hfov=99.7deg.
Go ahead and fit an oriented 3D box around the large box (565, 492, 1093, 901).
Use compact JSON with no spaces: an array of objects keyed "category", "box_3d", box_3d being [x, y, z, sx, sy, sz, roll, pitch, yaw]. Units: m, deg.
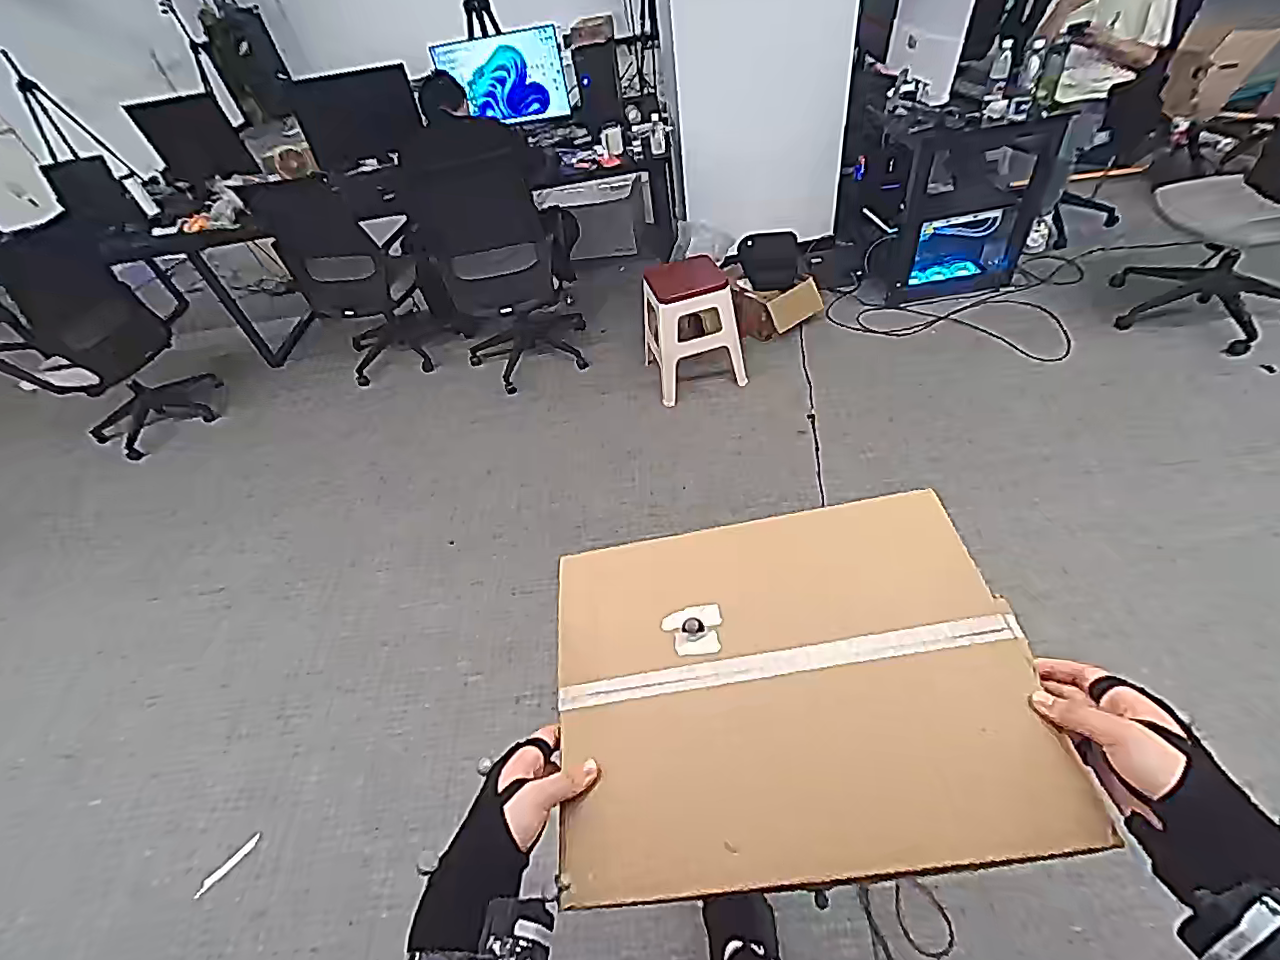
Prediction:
[{"category":"large box","box_3d":[0.157,0.261,0.615,0.408,0.320,0.320,-13,49,7]}]
